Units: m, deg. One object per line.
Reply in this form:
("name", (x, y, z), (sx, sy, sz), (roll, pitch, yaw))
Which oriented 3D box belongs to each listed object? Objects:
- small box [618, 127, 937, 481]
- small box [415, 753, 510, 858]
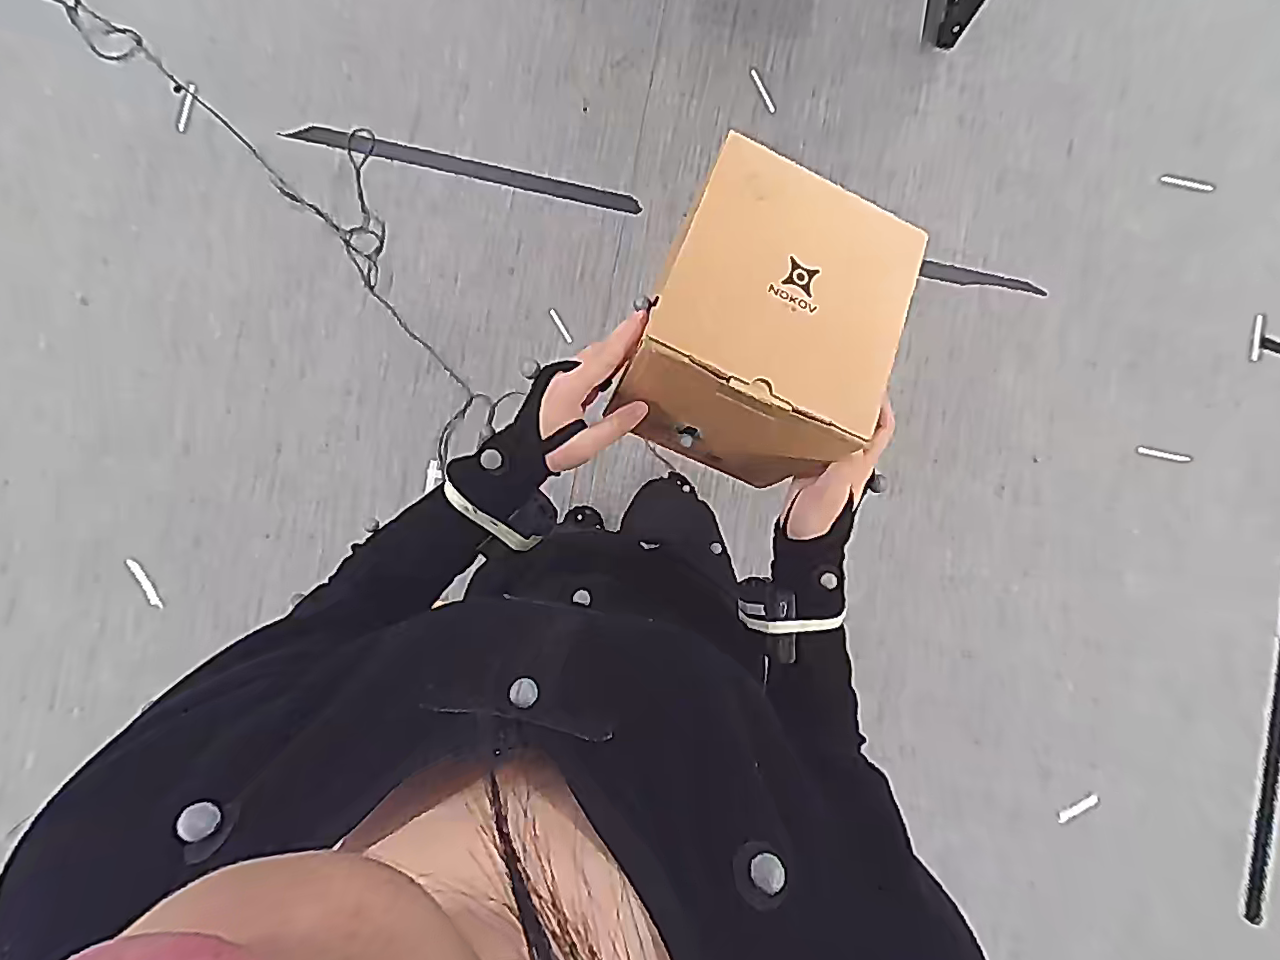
("small box", (0.093, -0.118, 0.432), (0.168, 0.176, 0.179), (23, 76, -7))
("small box", (-0.435, 0.800, 1.346), (0.179, 0.176, 0.168), (4, 88, -2))
